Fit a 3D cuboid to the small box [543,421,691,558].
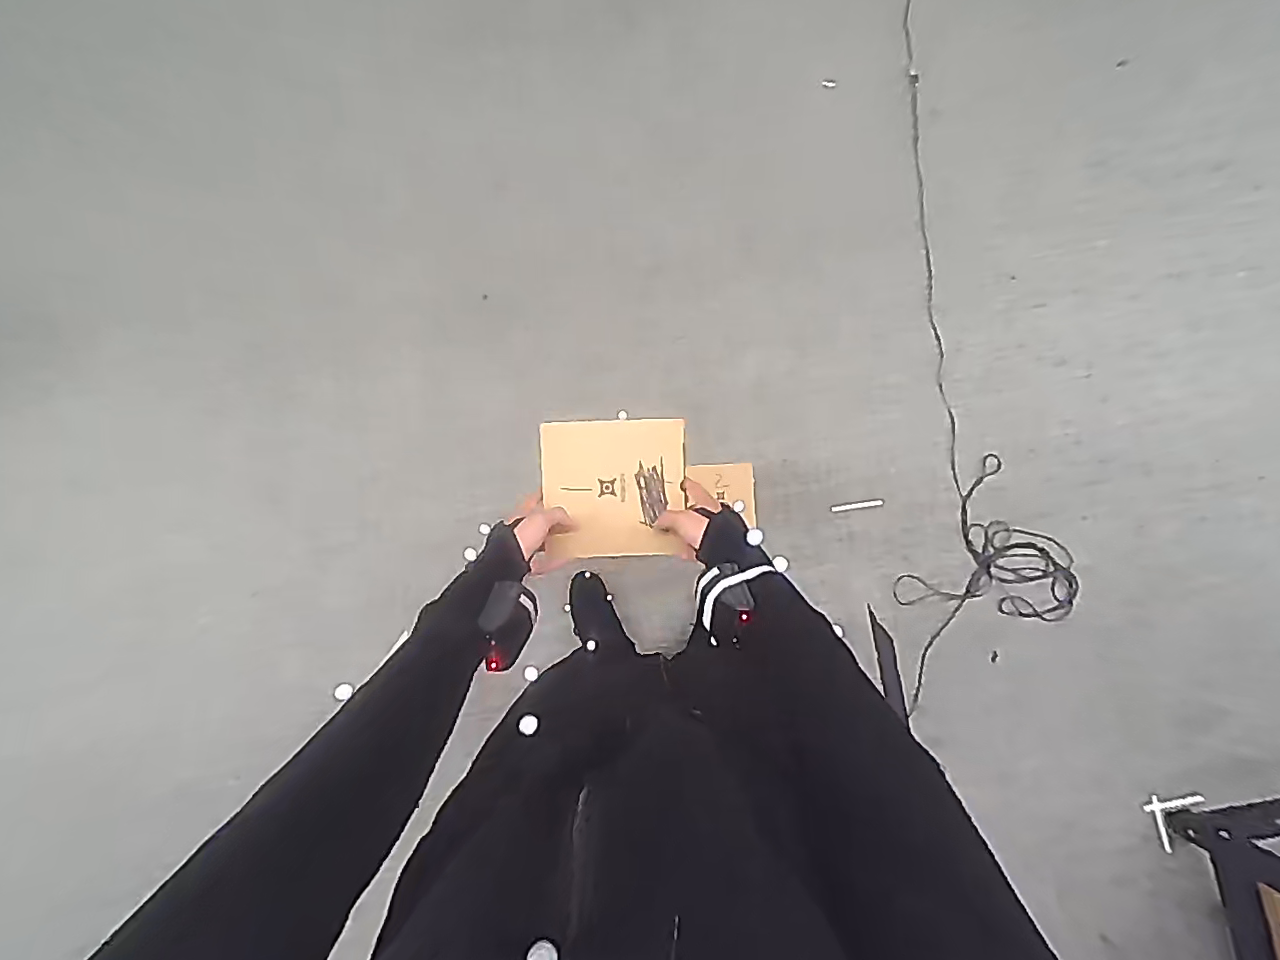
[{"bbox_3d":[-0.029,0.008,0.727,0.179,0.176,0.168,-2,91,0],"label":"small box"}]
